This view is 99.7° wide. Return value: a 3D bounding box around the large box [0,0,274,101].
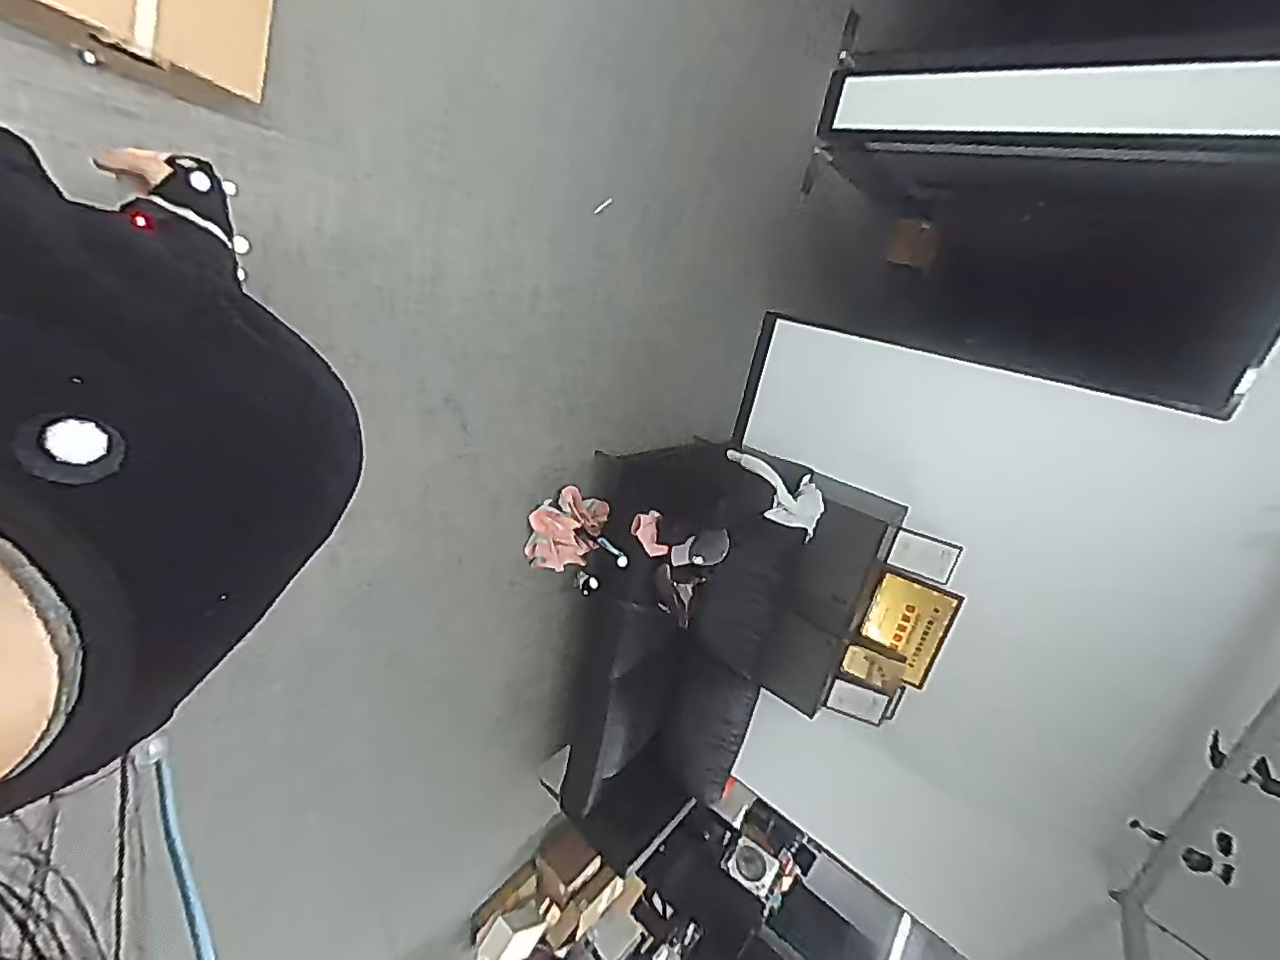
[{"bbox_3d":[-0.796,-0.890,0.843,0.320,0.320,0.408,-3,113,-54],"label":"large box"}]
